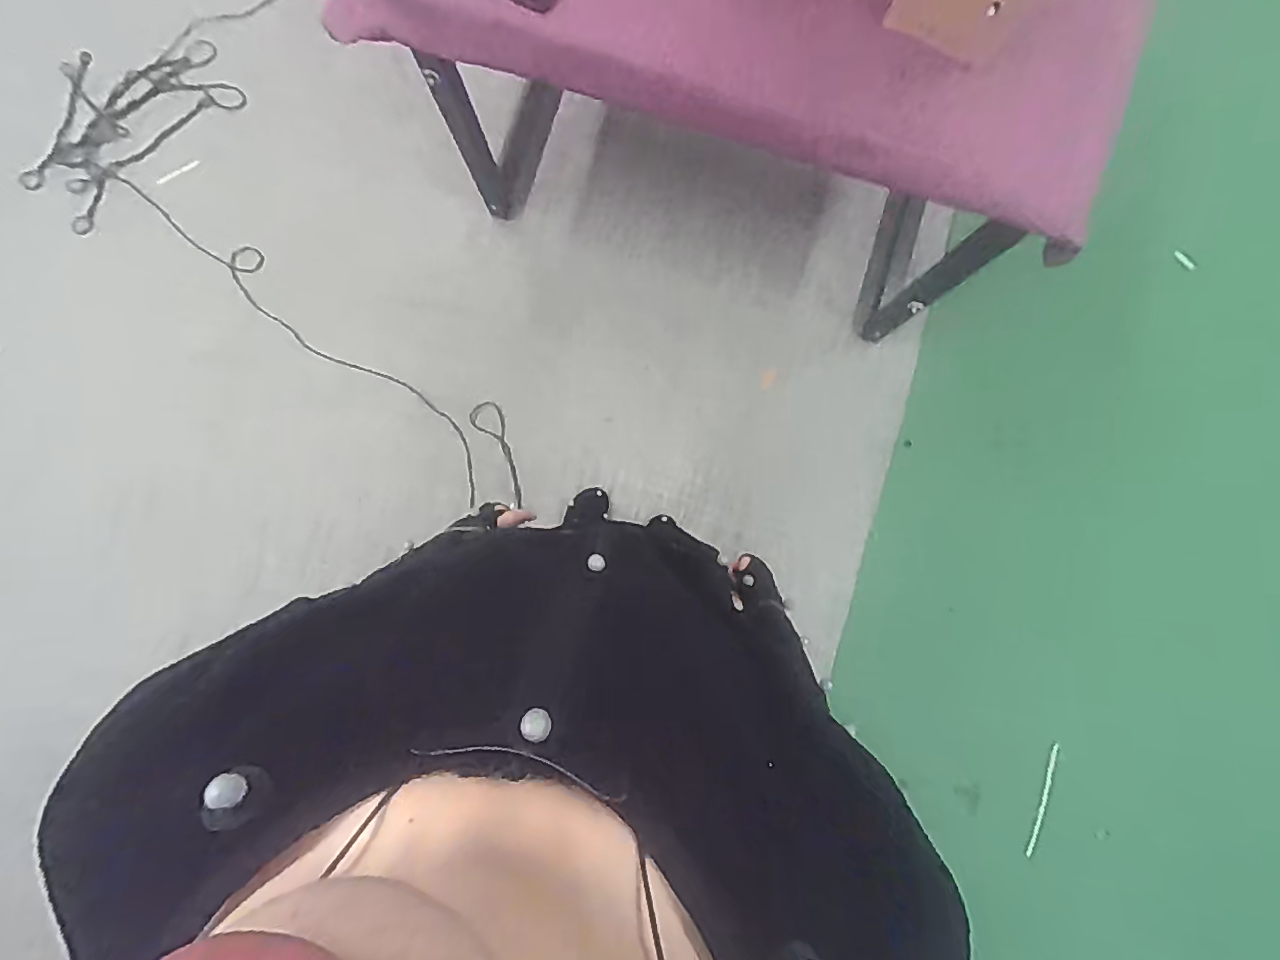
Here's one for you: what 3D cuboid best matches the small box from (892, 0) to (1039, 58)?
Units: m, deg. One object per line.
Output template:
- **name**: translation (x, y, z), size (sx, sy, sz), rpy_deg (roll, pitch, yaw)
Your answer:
- **small box**: translation (0.501, -0.755, 0.766), size (0.179, 0.176, 0.168), rpy_deg (26, 86, 2)
